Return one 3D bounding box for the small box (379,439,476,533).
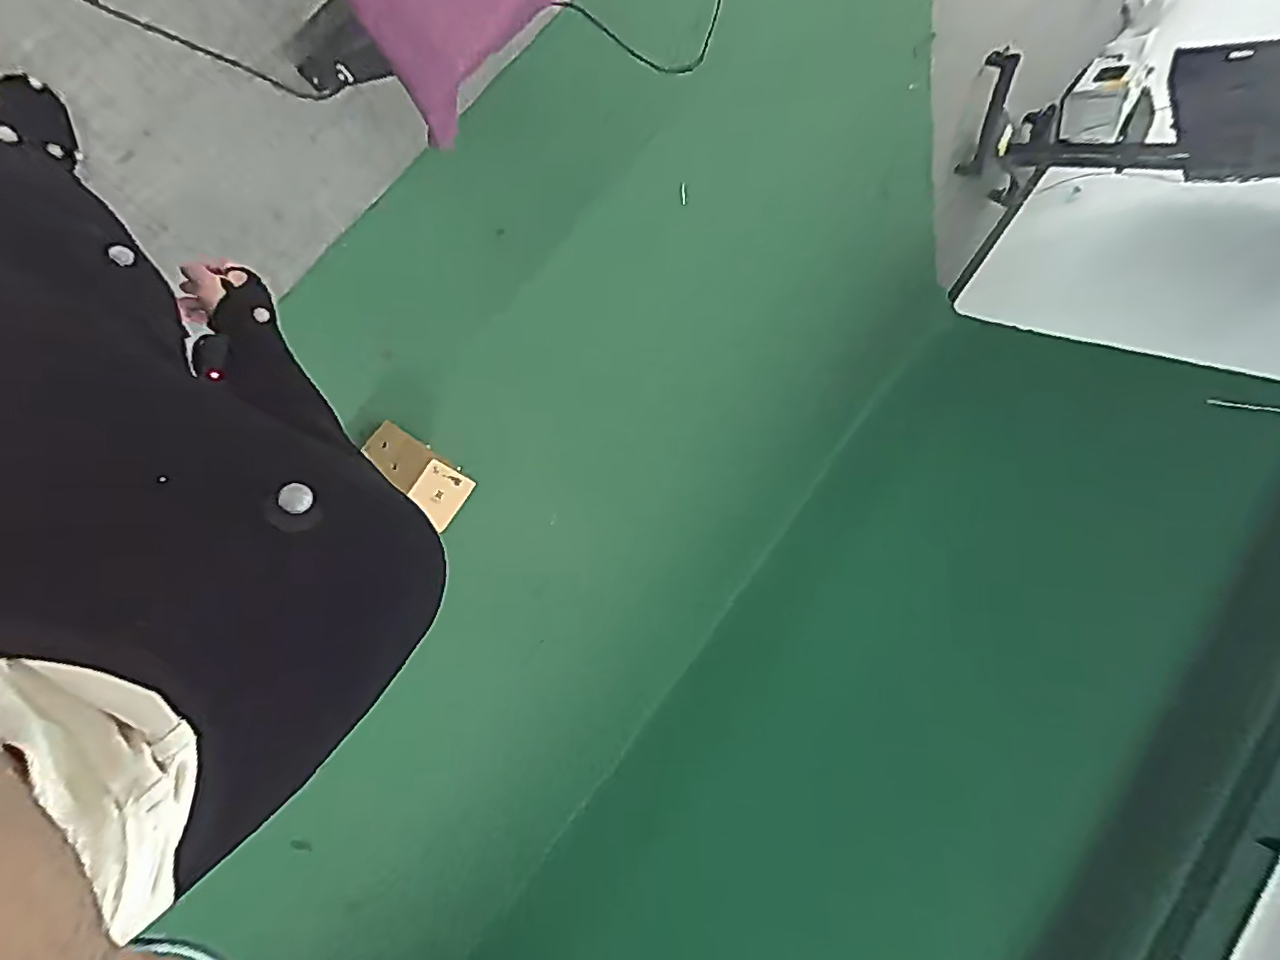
[{"bbox_3d":[-0.609,0.016,1.532,0.179,0.176,0.168,-54,141,-5],"label":"small box"}]

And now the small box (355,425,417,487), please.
[{"bbox_3d":[-0.720,-0.048,1.635,0.168,0.176,0.179,-53,141,-7],"label":"small box"}]
